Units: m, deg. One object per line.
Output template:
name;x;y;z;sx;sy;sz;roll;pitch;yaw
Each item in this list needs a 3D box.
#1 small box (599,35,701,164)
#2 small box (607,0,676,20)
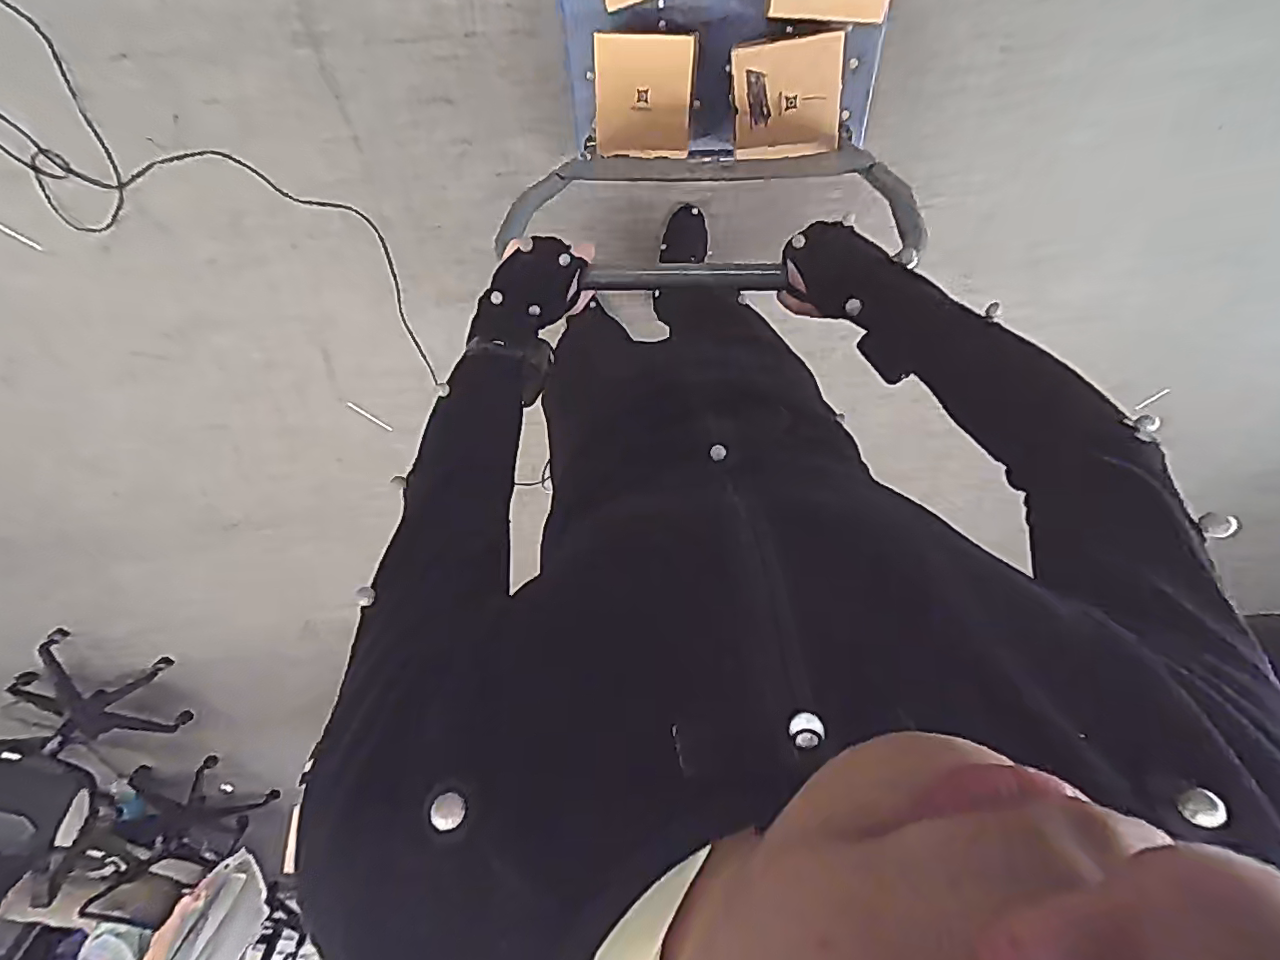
small box;0.021;-0.697;0.987;0.168;0.176;0.179;6;133;5
small box;0.022;-0.856;0.844;0.168;0.176;0.179;-7;129;15
